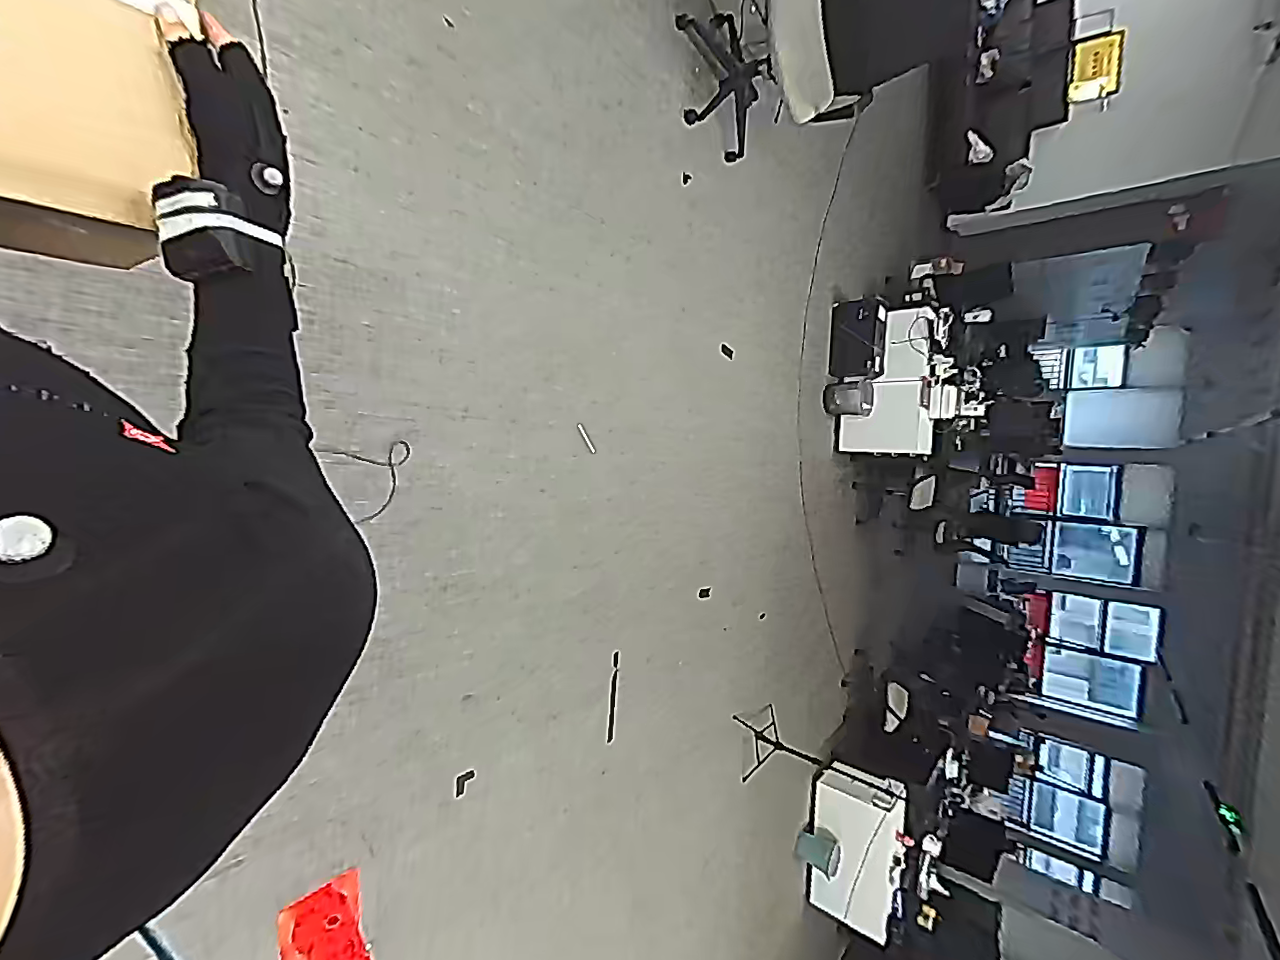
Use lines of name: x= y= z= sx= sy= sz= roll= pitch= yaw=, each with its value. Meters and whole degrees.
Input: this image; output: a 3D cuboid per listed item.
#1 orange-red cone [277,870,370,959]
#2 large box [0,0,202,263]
orange-red cone: x=-0.738 y=1.205 z=1.359 sx=0.198 sy=0.360 sz=0.199 roll=-4 pitch=96 yaw=-51
large box: x=-0.585 y=-0.358 z=0.351 sx=0.408 sy=0.320 sz=0.320 roll=-6 pitch=104 yaw=-52
